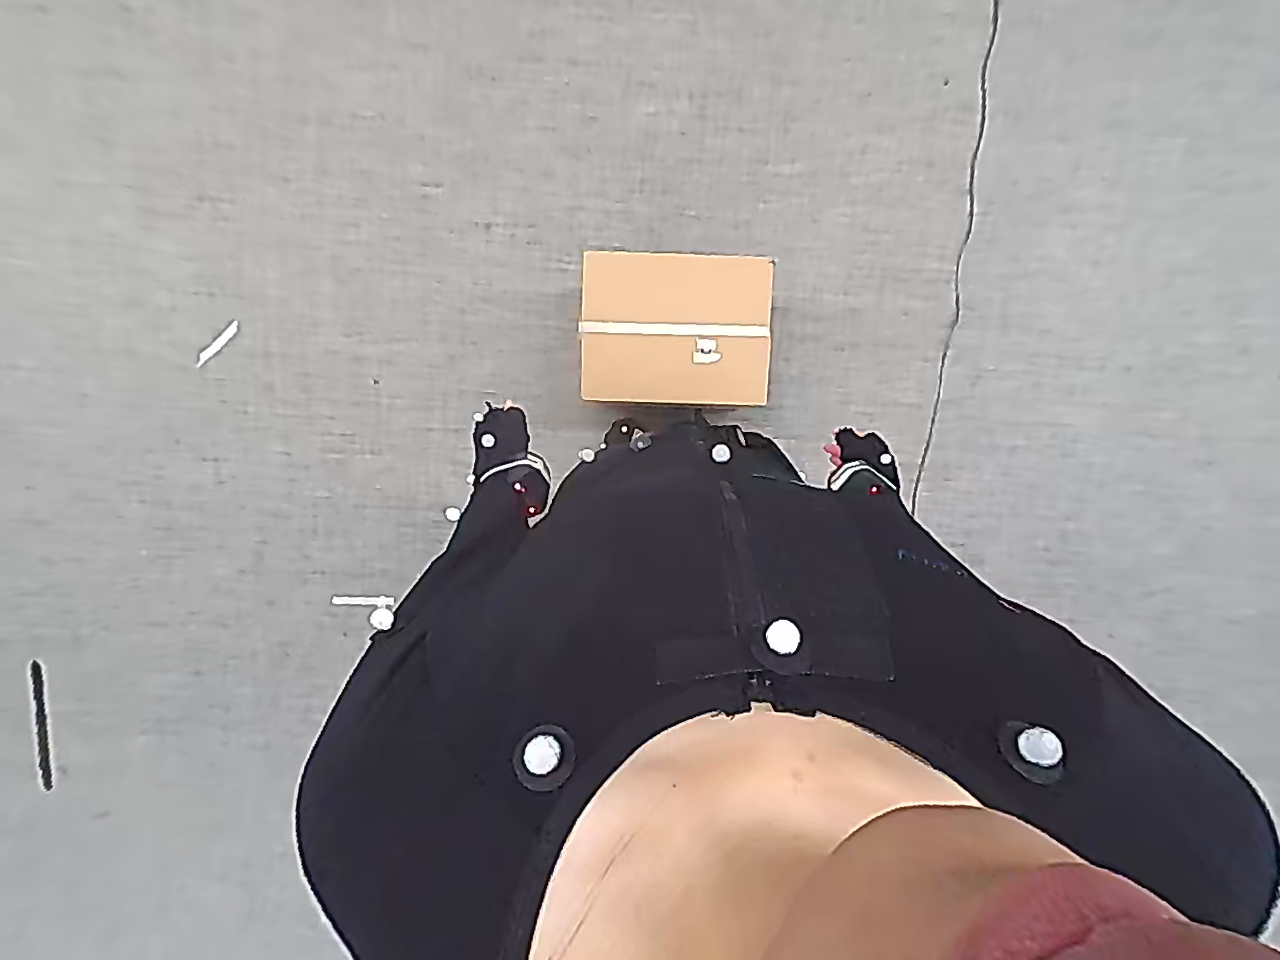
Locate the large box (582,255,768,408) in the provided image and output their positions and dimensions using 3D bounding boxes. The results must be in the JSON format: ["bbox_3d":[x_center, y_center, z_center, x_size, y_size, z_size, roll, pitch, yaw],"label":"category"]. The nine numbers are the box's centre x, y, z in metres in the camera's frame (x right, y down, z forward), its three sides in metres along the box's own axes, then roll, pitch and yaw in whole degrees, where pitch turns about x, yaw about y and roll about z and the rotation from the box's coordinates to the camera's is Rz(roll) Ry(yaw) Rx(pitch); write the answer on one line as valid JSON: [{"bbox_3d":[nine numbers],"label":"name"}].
[{"bbox_3d":[0.070,-0.339,1.313,0.408,0.320,0.320,1,96,-1],"label":"large box"}]
